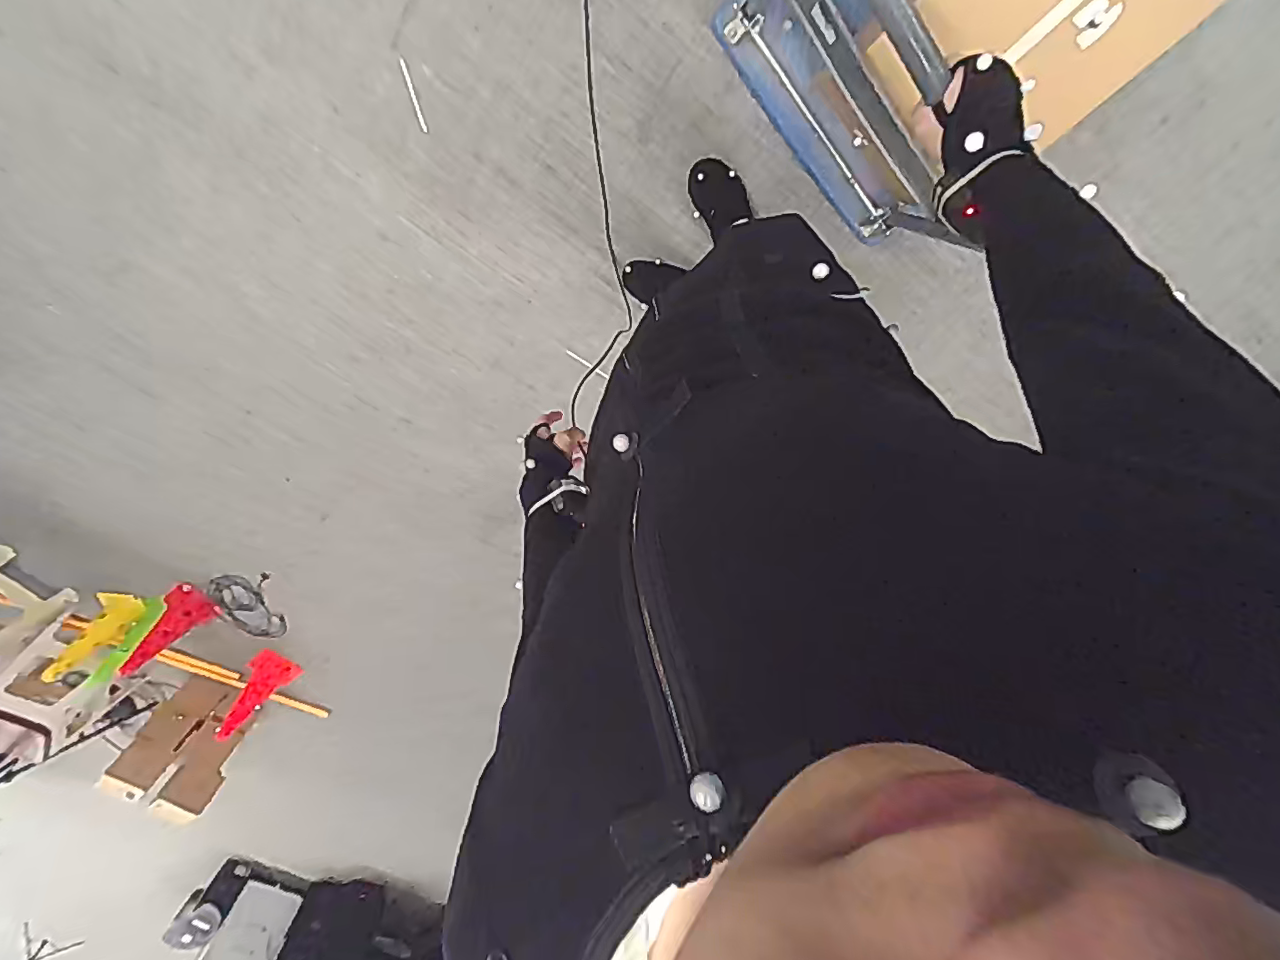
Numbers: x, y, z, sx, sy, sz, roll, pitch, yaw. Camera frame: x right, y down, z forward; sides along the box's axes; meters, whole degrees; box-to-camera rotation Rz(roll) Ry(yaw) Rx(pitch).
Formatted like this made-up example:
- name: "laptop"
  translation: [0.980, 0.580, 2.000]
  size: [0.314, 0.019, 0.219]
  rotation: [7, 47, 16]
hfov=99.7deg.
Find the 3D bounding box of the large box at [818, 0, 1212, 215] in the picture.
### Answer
- name: "large box"
  translation: [0.587, -0.742, 0.932]
  size: [0.320, 0.320, 0.408]
  rotation: [41, 116, -20]
